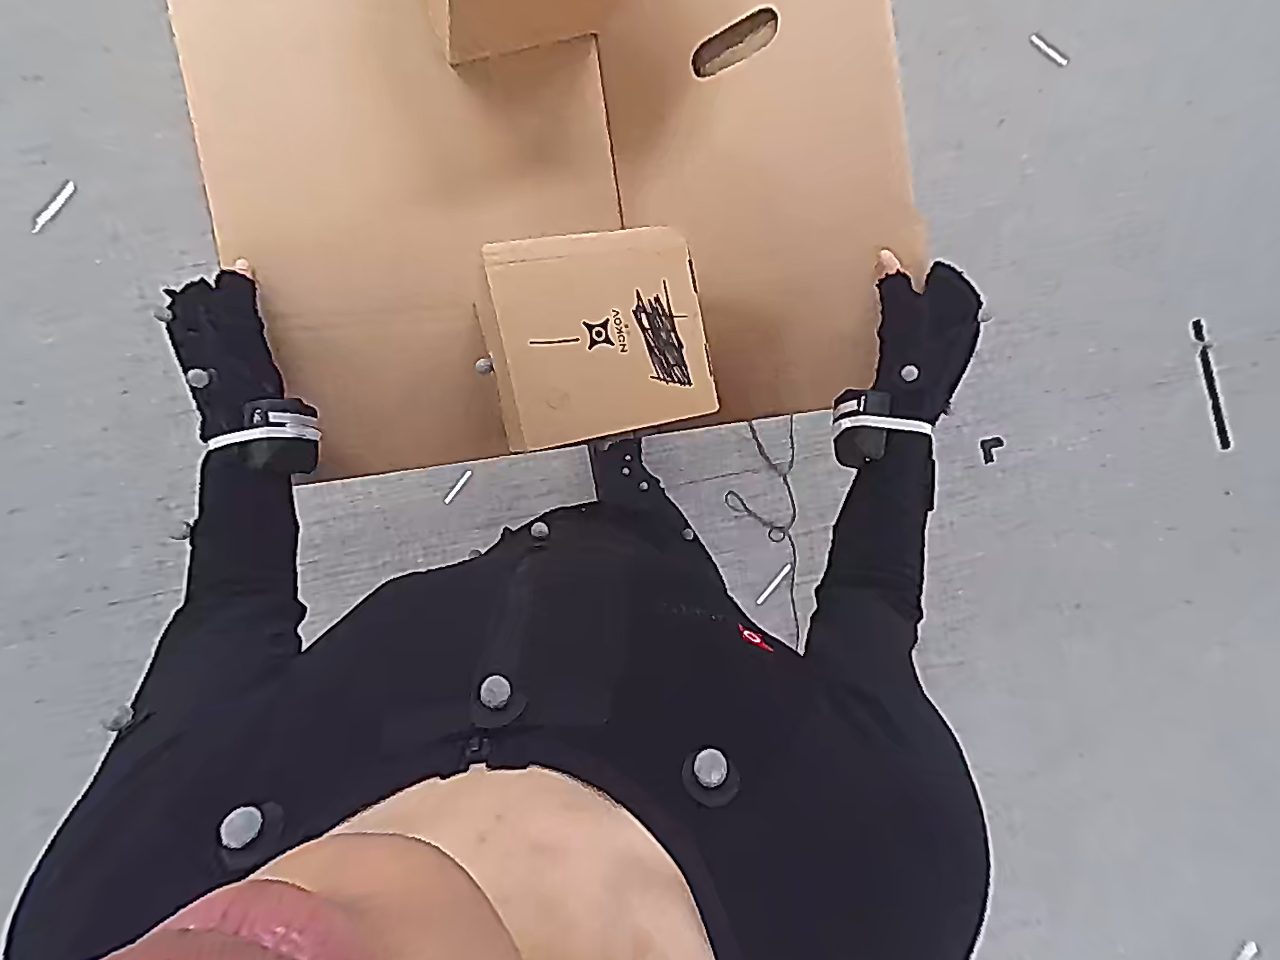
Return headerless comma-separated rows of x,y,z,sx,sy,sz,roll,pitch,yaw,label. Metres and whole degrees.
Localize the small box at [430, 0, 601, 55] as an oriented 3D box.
-0.125,-0.535,0.492,0.179,0.176,0.168,-26,100,-16,small box
